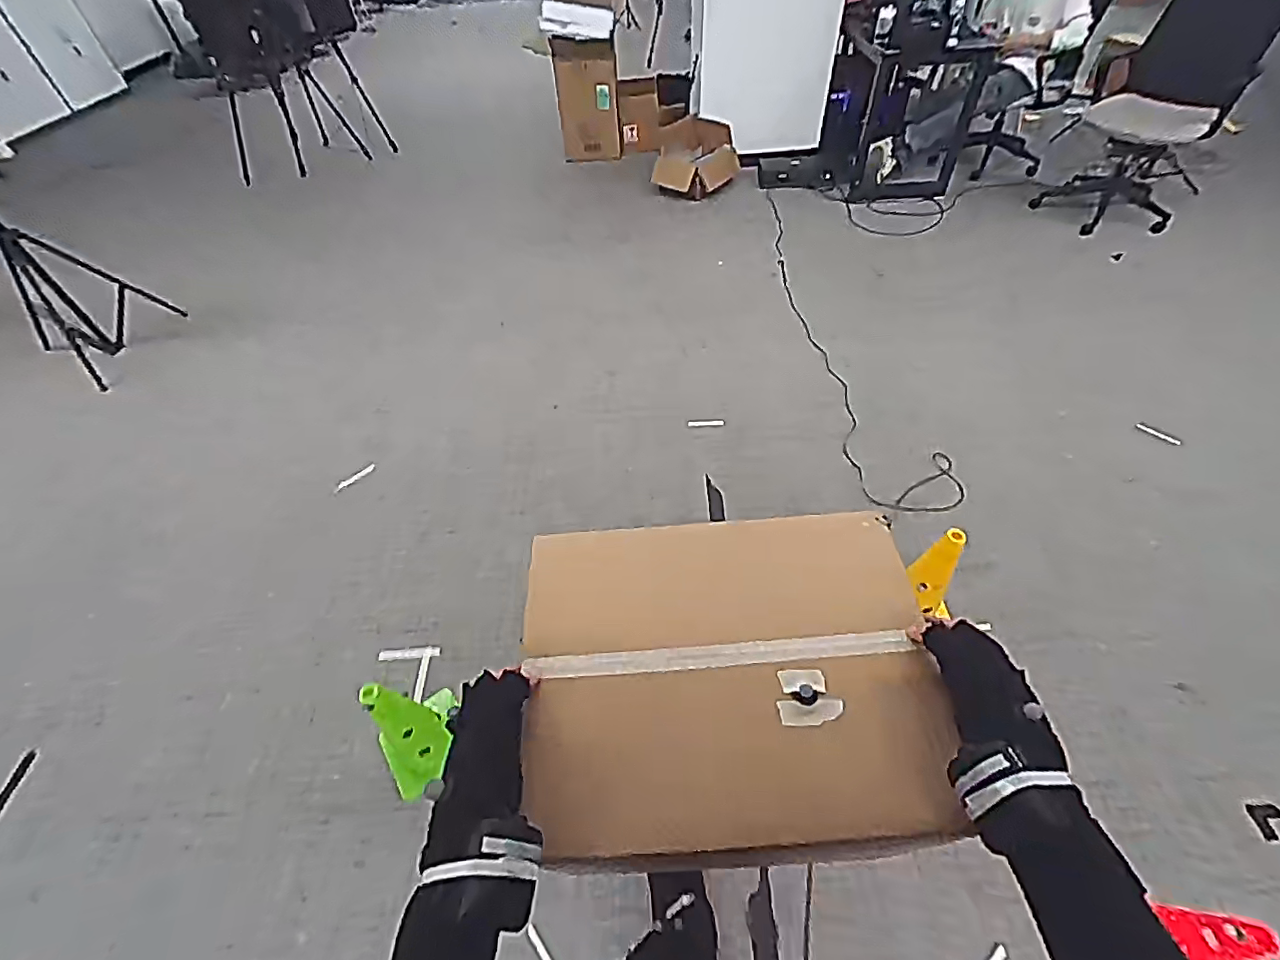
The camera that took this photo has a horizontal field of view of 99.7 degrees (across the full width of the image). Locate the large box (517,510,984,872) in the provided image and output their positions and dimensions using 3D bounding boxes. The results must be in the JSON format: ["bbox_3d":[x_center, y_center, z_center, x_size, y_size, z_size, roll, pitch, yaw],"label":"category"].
[{"bbox_3d":[0.090,0.264,0.658,0.408,0.320,0.320,-4,52,1],"label":"large box"}]

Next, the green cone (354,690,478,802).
[{"bbox_3d":[-0.549,0.560,1.245,0.202,0.368,0.200,-33,54,-21],"label":"green cone"}]
